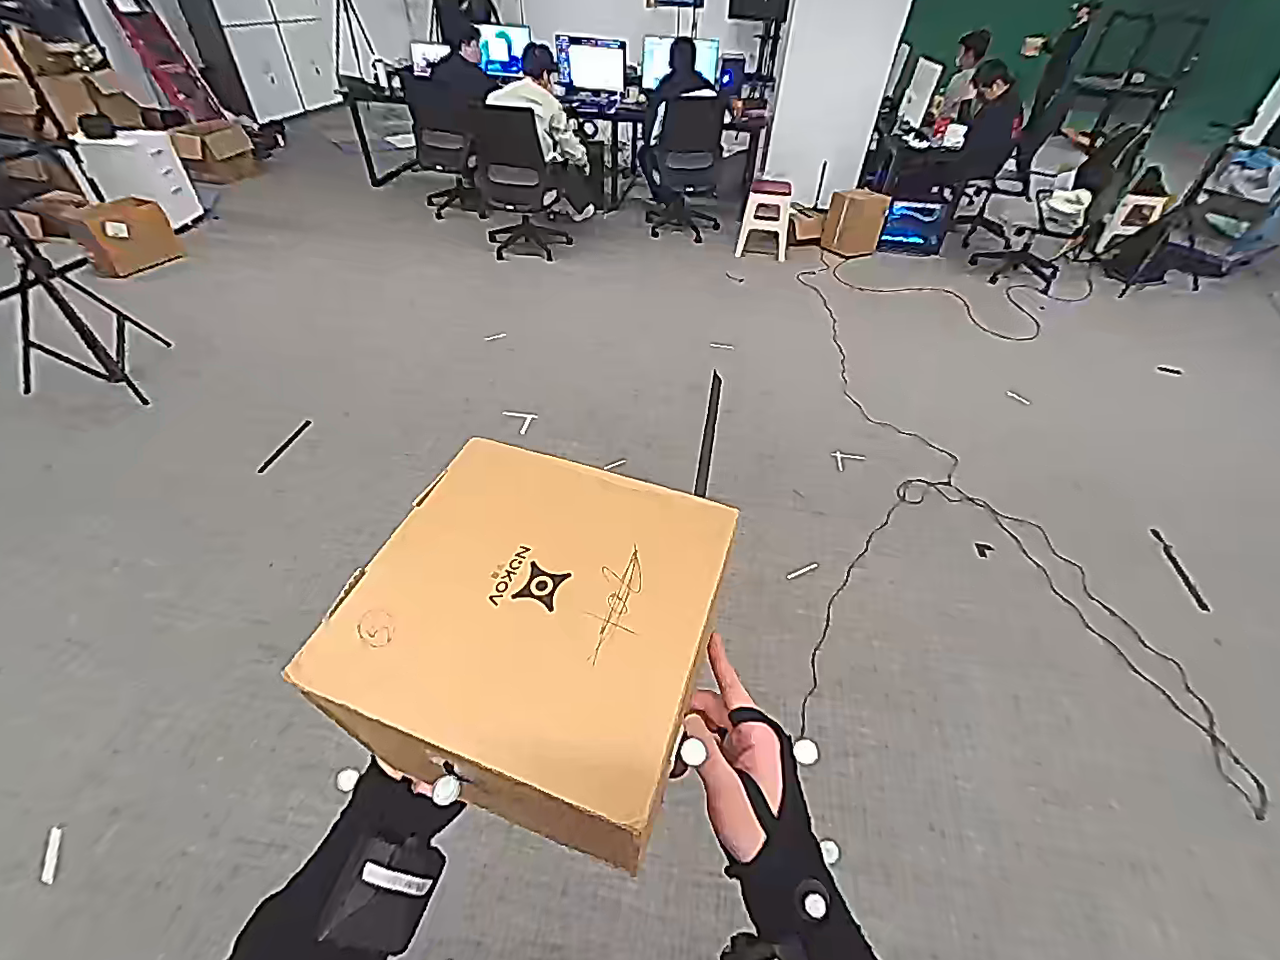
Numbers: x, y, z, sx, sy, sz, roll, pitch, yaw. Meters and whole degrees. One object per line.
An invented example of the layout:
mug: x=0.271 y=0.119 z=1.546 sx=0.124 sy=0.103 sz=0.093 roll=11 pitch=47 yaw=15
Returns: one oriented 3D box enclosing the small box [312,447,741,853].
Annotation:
small box: x=-0.050 y=0.110 z=0.345 sx=0.179 sy=0.176 sz=0.168 roll=16 pitch=51 yaw=12
